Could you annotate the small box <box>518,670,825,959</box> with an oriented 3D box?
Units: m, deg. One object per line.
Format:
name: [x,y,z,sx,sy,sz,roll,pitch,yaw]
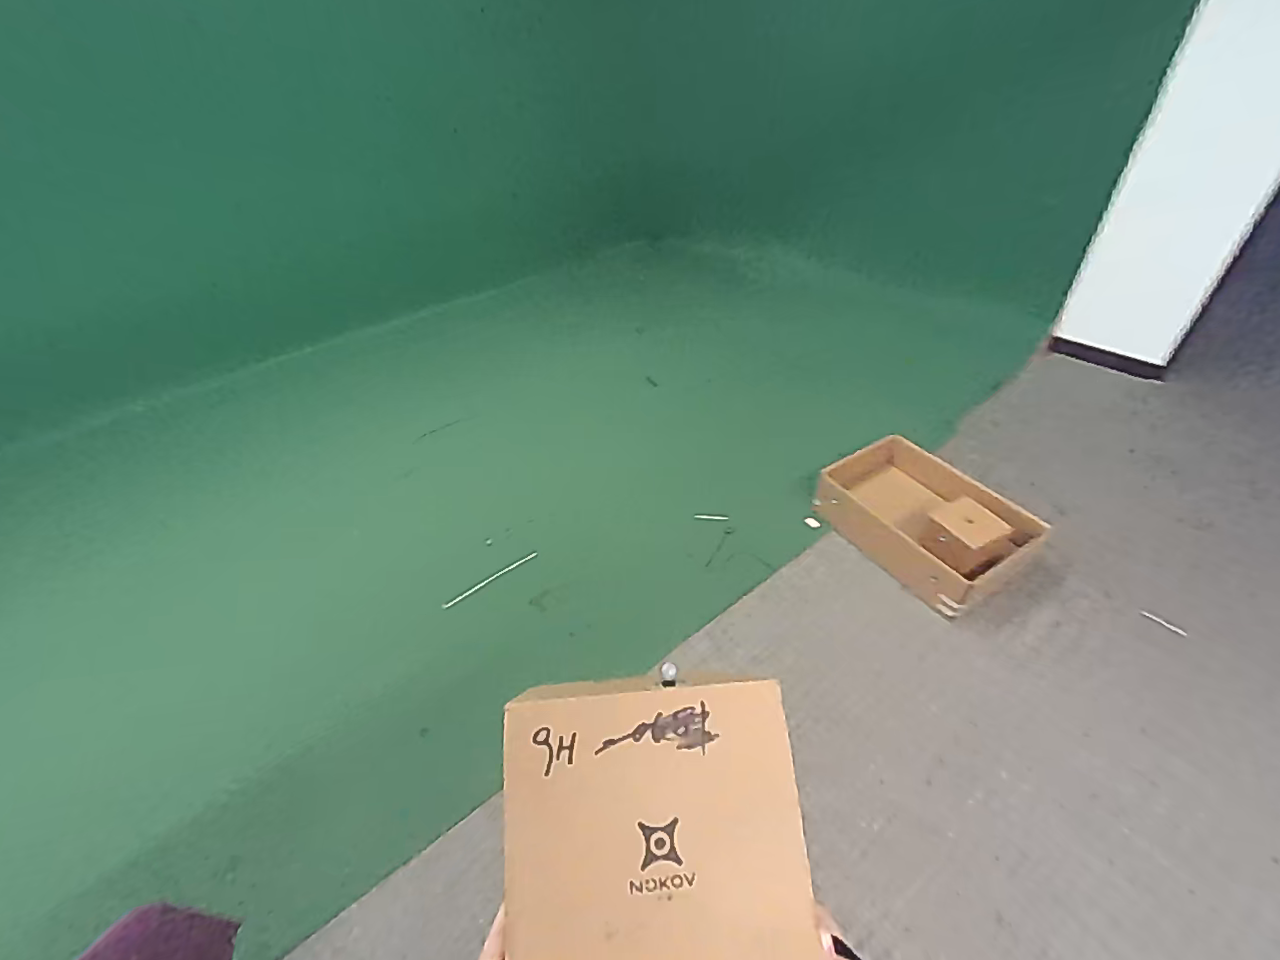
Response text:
small box: [0.009,0.232,0.374,0.168,0.176,0.179,-2,73,-7]
